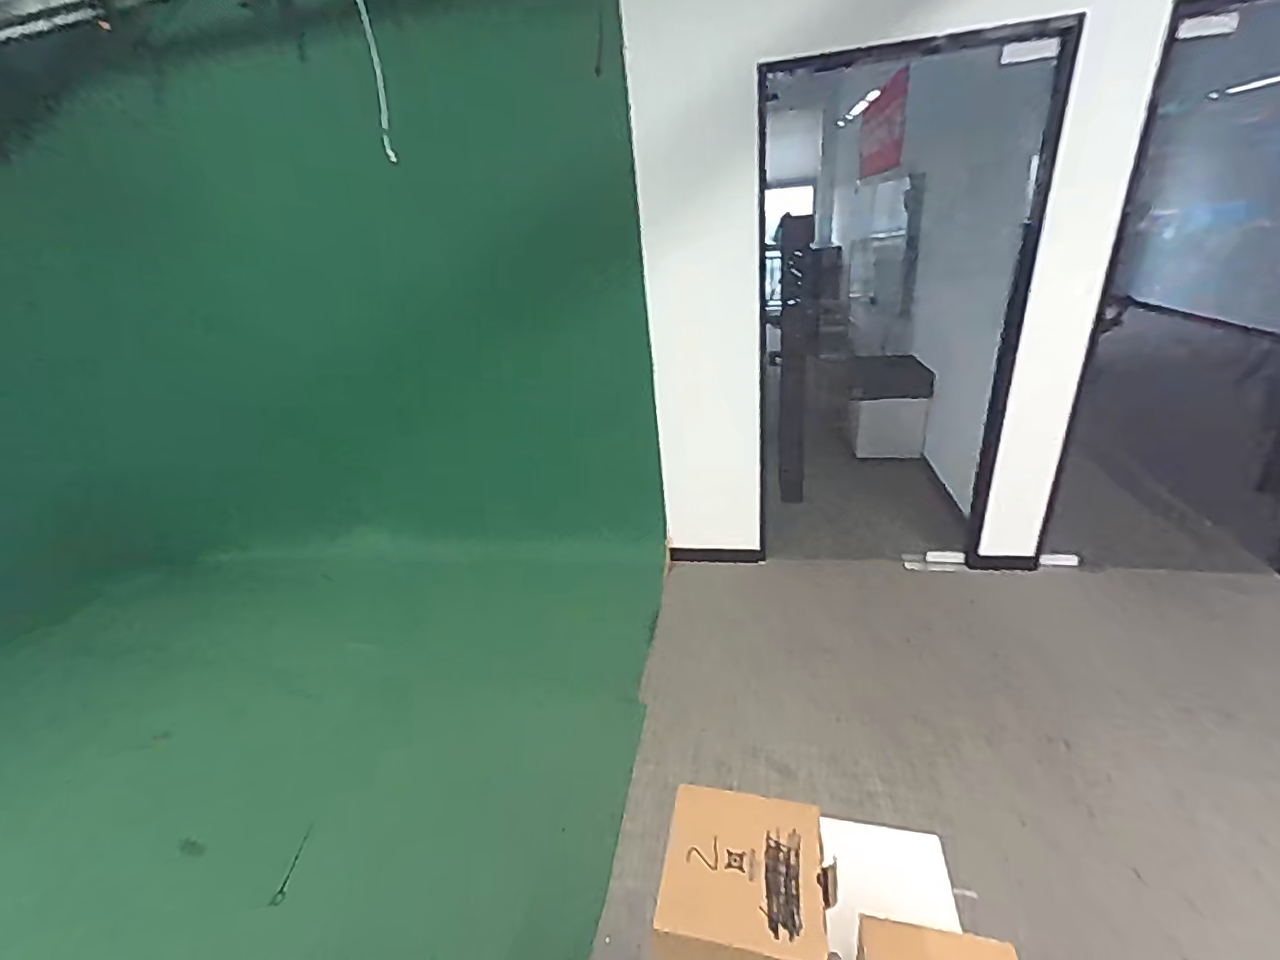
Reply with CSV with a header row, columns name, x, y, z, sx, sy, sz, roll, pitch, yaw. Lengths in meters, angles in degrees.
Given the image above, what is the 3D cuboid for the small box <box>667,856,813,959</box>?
name,x,y,z,sx,sy,sz,roll,pitch,yaw
small box,0.135,0.645,0.714,0.179,0.176,0.168,1,27,14
